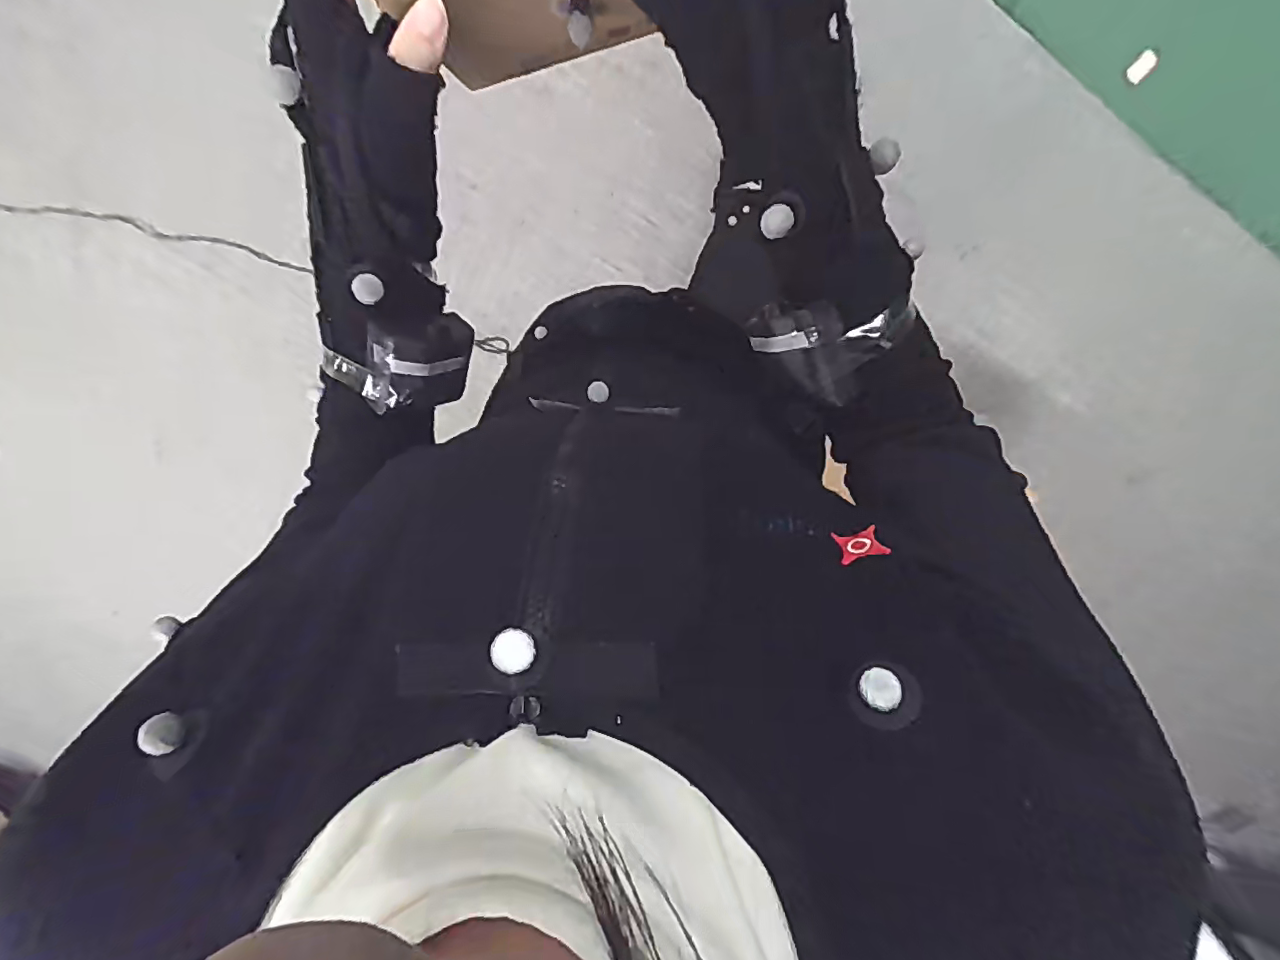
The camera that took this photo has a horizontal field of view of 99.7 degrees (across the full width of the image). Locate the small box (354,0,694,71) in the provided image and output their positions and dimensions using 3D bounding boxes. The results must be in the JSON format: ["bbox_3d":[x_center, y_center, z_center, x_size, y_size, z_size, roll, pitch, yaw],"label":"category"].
[{"bbox_3d":[-0.060,-0.319,0.242,0.168,0.176,0.179,-14,113,6],"label":"small box"}]
